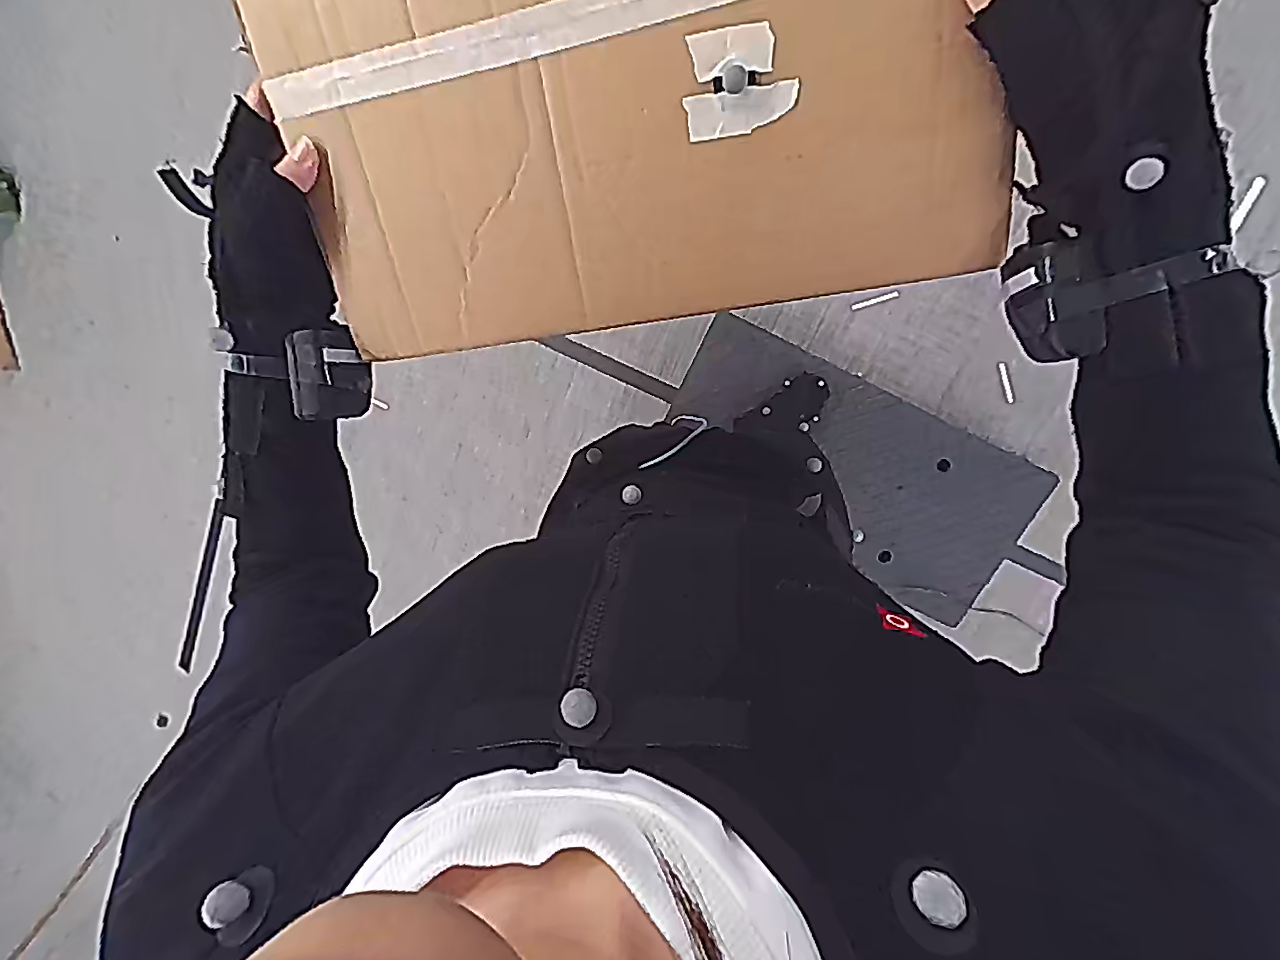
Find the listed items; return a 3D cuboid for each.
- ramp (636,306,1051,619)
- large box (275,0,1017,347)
[{"bbox_3d":[0.535,-0.021,1.434,0.991,0.206,0.509,26,103,5],"label":"ramp"},{"bbox_3d":[0.007,-0.311,0.428,0.408,0.320,0.320,-6,112,10],"label":"large box"}]
